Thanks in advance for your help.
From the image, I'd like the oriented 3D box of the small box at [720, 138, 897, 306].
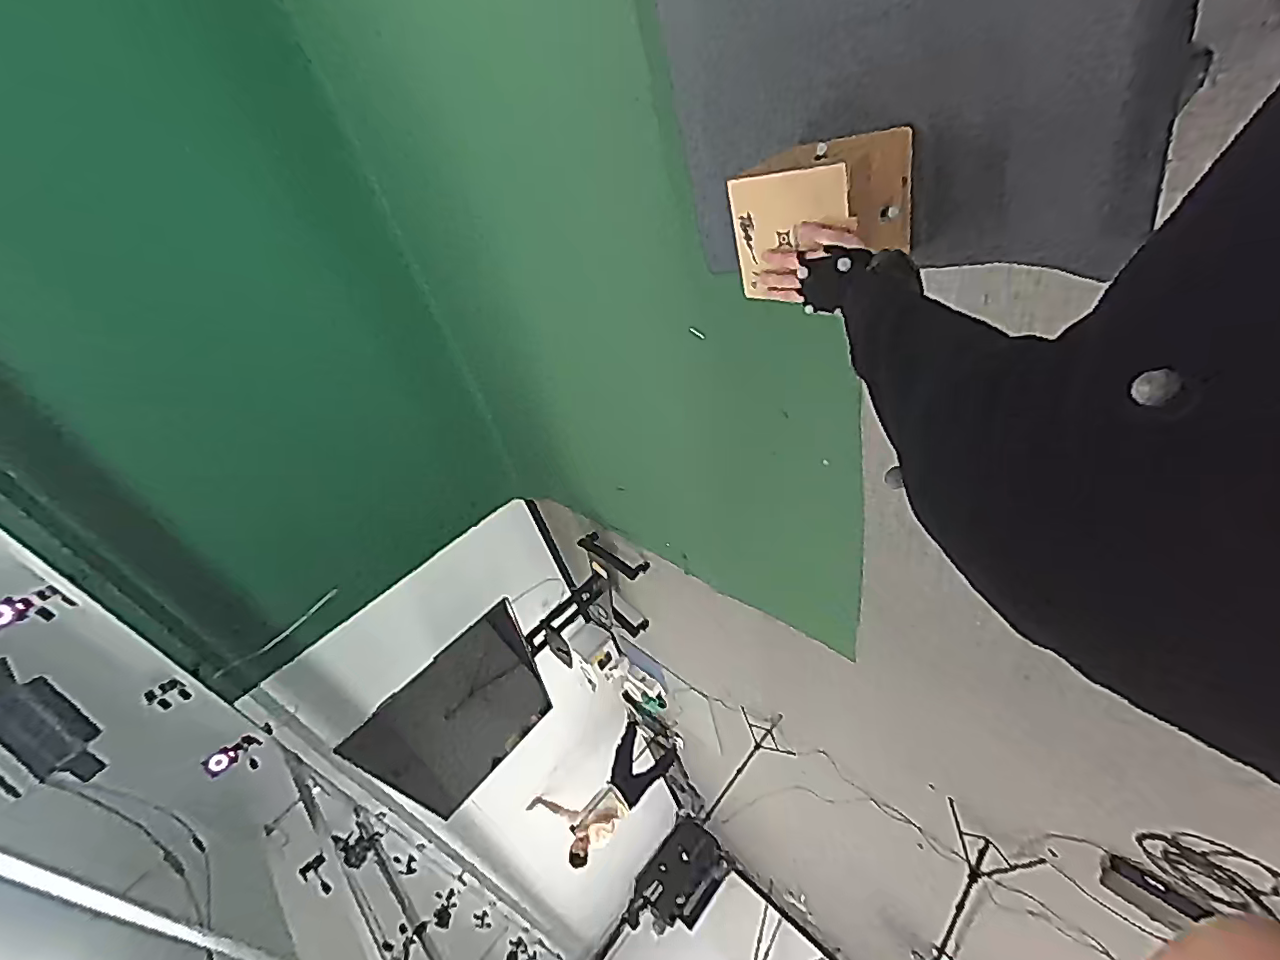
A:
[{"bbox_3d":[0.242,-0.358,0.758,0.179,0.176,0.168,19,137,42],"label":"small box"}]
